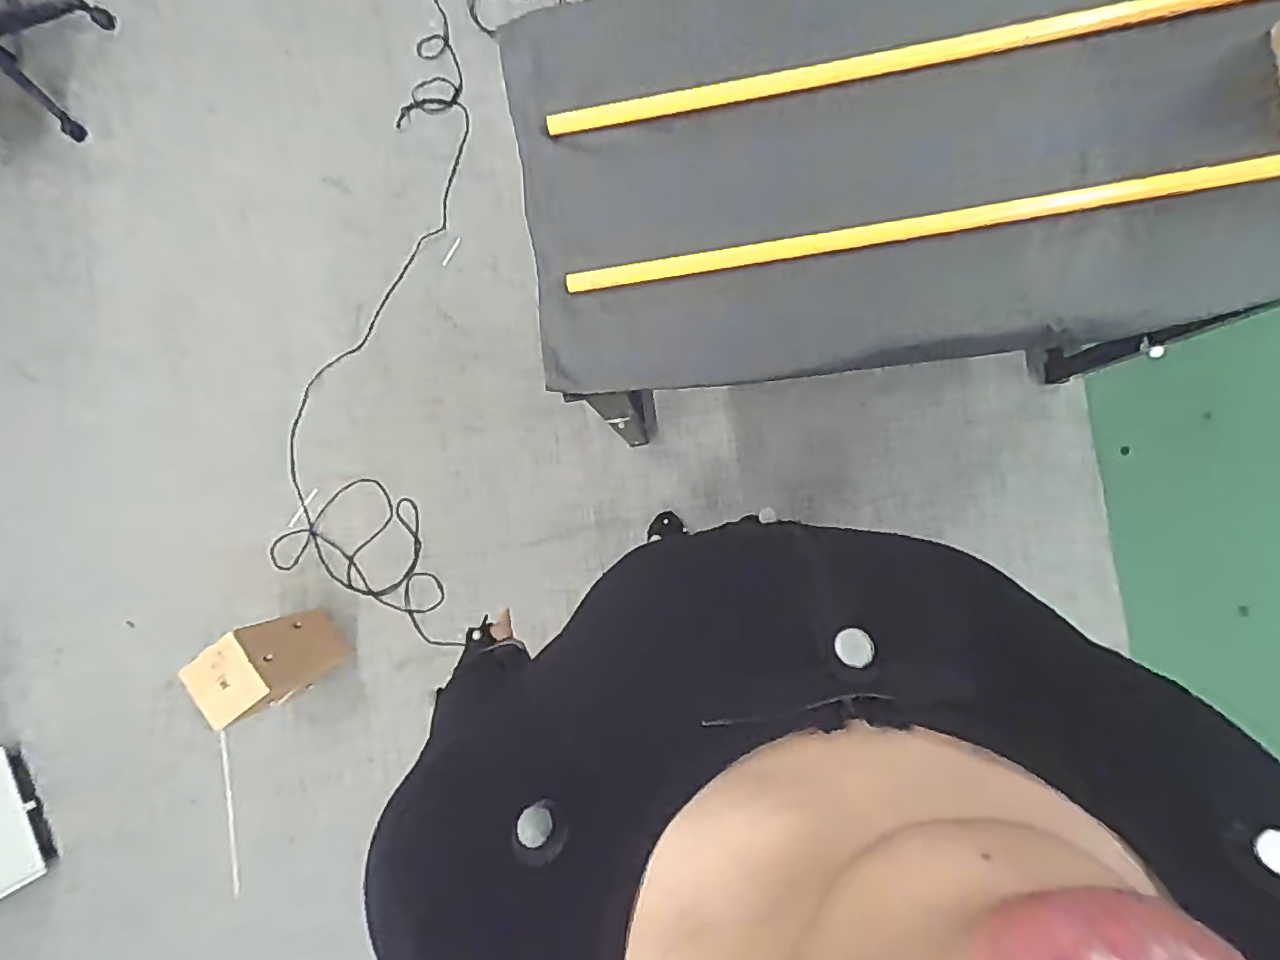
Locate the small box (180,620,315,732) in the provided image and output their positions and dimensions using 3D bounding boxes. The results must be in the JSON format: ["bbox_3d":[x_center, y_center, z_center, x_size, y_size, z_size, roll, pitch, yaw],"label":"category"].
[{"bbox_3d":[-0.953,0.472,1.330,0.168,0.176,0.179,-38,84,2],"label":"small box"}]

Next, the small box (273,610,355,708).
[{"bbox_3d":[-0.939,0.484,1.494,0.168,0.176,0.179,-43,84,2],"label":"small box"}]
